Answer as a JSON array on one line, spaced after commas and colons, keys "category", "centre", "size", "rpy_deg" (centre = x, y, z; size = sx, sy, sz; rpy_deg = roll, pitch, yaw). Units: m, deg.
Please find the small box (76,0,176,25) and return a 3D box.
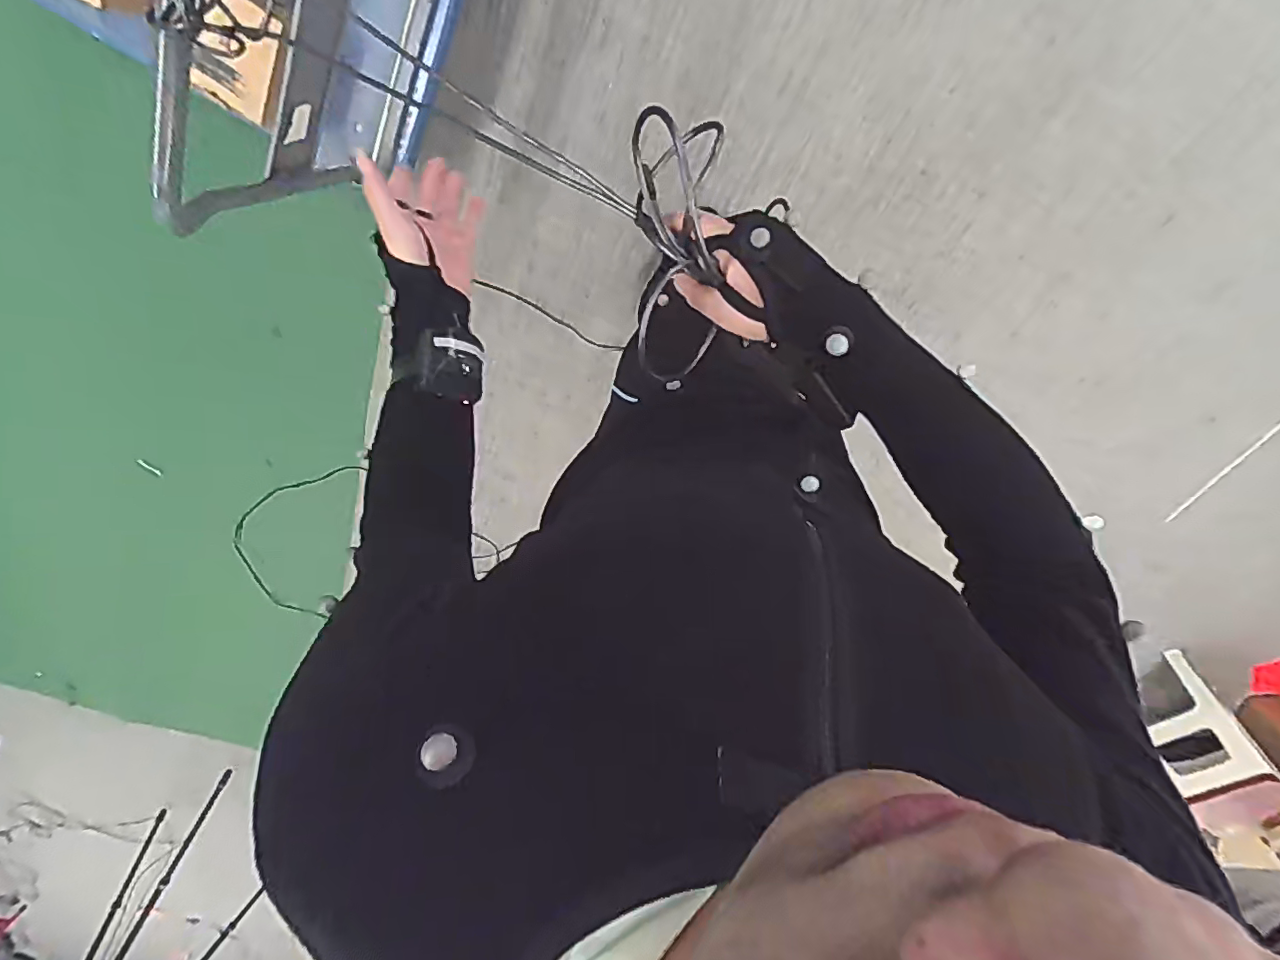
[{"category": "small box", "centre": [-0.941, -0.926, 0.929], "size": [0.179, 0.176, 0.168], "rpy_deg": [25, 120, -12]}]
